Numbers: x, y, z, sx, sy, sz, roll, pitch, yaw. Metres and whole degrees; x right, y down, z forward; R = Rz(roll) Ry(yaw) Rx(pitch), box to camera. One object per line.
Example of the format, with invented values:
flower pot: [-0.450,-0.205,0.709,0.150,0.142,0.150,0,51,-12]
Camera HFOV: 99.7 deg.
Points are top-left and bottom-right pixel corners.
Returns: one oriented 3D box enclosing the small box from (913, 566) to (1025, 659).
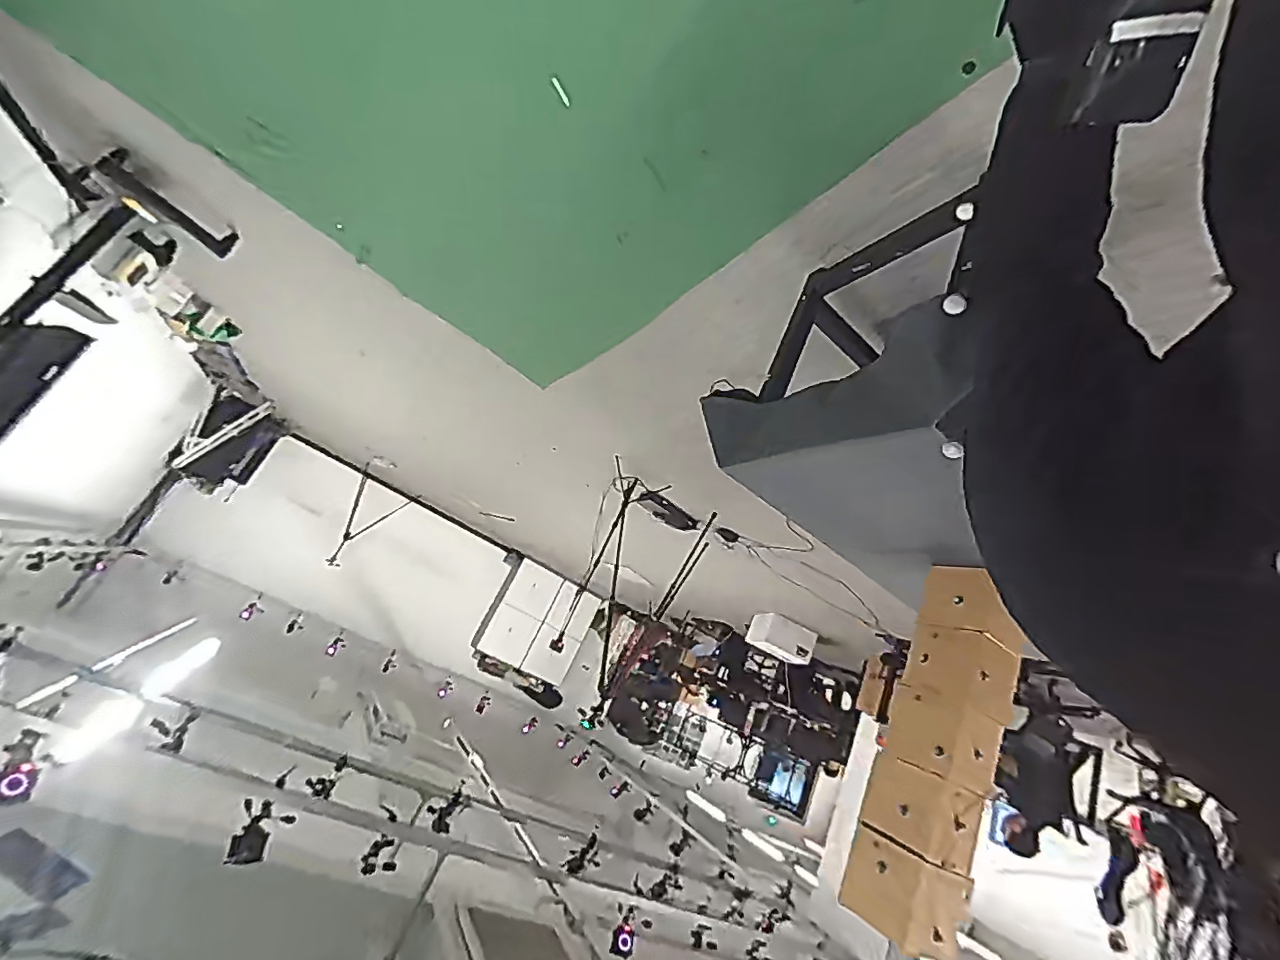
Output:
small box: [0.836,0.328,1.371,0.168,0.176,0.179,34,158,-23]

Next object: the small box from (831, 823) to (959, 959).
small box: [0.557,0.888,1.175,0.179,0.176,0.168,34,160,-22]

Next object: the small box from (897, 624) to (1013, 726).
small box: [0.770,0.468,1.321,0.179,0.176,0.168,33,160,-21]

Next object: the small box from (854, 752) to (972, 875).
small box: [0.627,0.749,1.232,0.168,0.176,0.179,34,159,-21]
